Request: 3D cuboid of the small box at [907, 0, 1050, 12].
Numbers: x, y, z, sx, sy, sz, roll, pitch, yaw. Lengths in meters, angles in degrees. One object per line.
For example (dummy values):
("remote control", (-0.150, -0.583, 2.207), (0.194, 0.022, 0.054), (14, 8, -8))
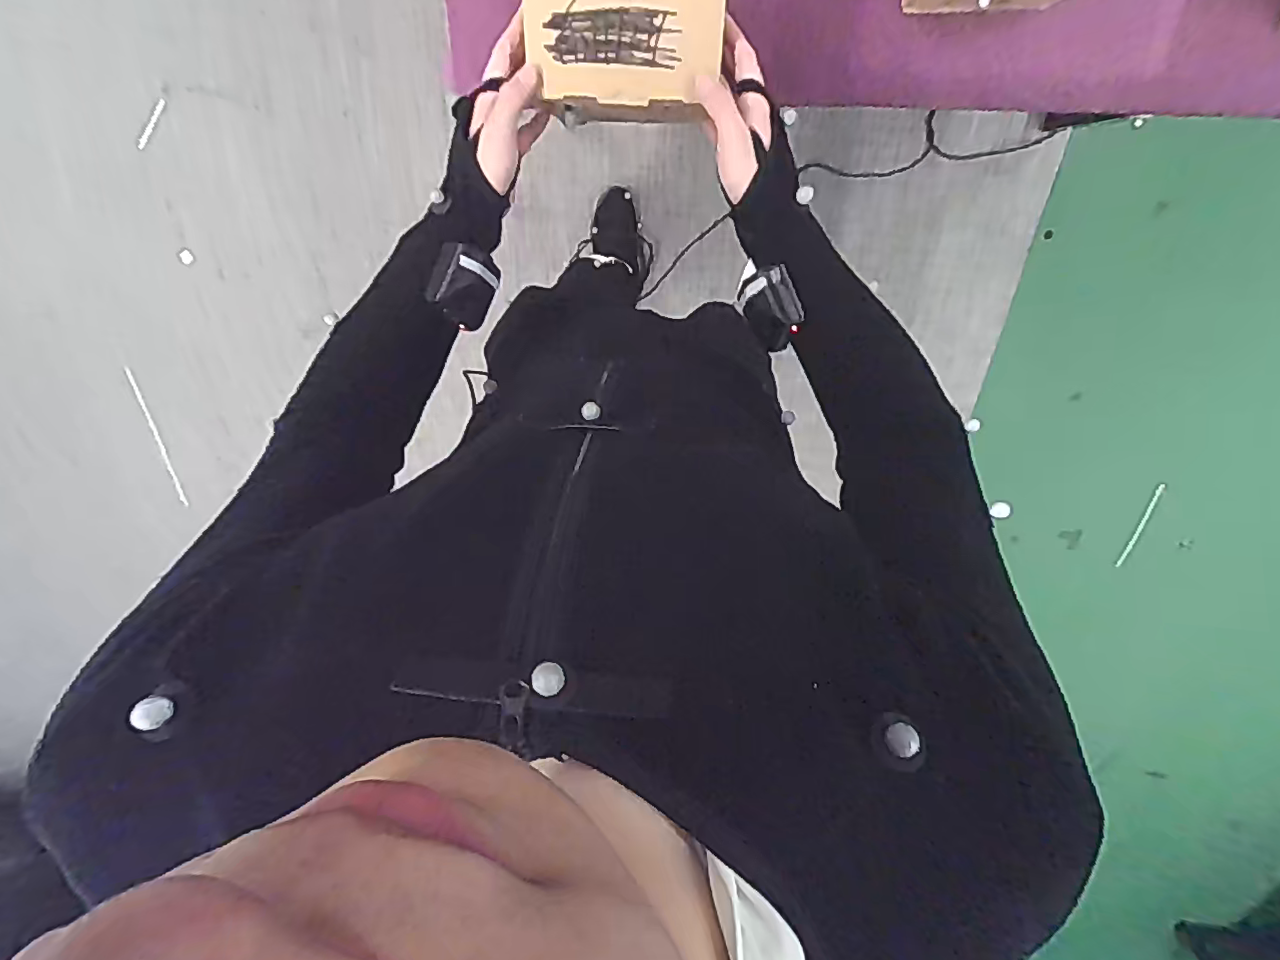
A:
("small box", (0.376, -0.582, 0.512), (0.168, 0.176, 0.179), (0, 117, 1))
